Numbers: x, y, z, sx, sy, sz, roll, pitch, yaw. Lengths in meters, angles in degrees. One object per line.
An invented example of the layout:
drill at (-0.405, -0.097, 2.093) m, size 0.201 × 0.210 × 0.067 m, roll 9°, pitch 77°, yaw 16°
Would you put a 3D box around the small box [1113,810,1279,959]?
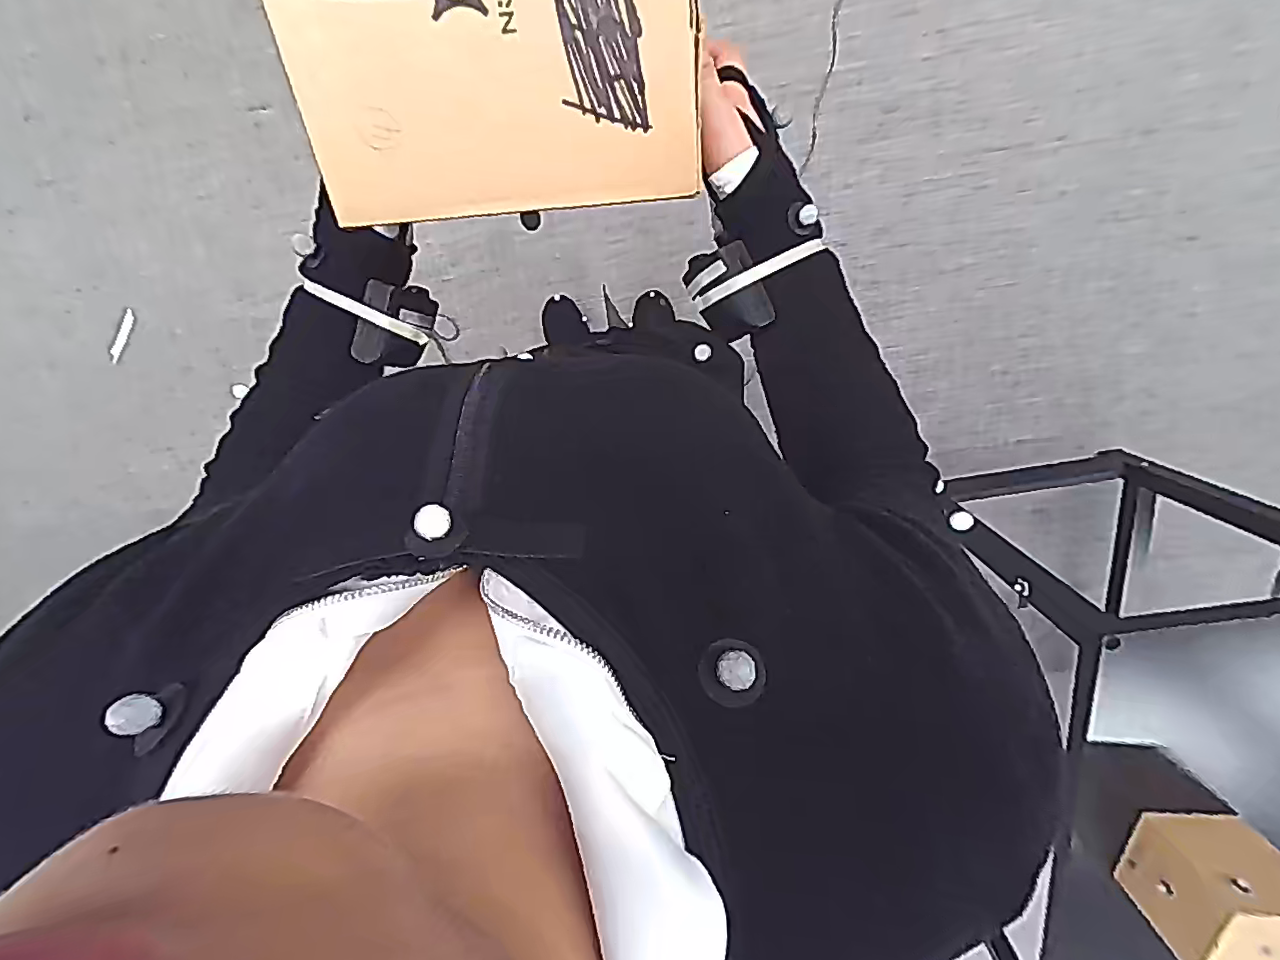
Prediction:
small box at (0.972, 0.693, 0.919) m, size 0.179 × 0.176 × 0.168 m, roll 2°, pitch 110°, yaw 0°
